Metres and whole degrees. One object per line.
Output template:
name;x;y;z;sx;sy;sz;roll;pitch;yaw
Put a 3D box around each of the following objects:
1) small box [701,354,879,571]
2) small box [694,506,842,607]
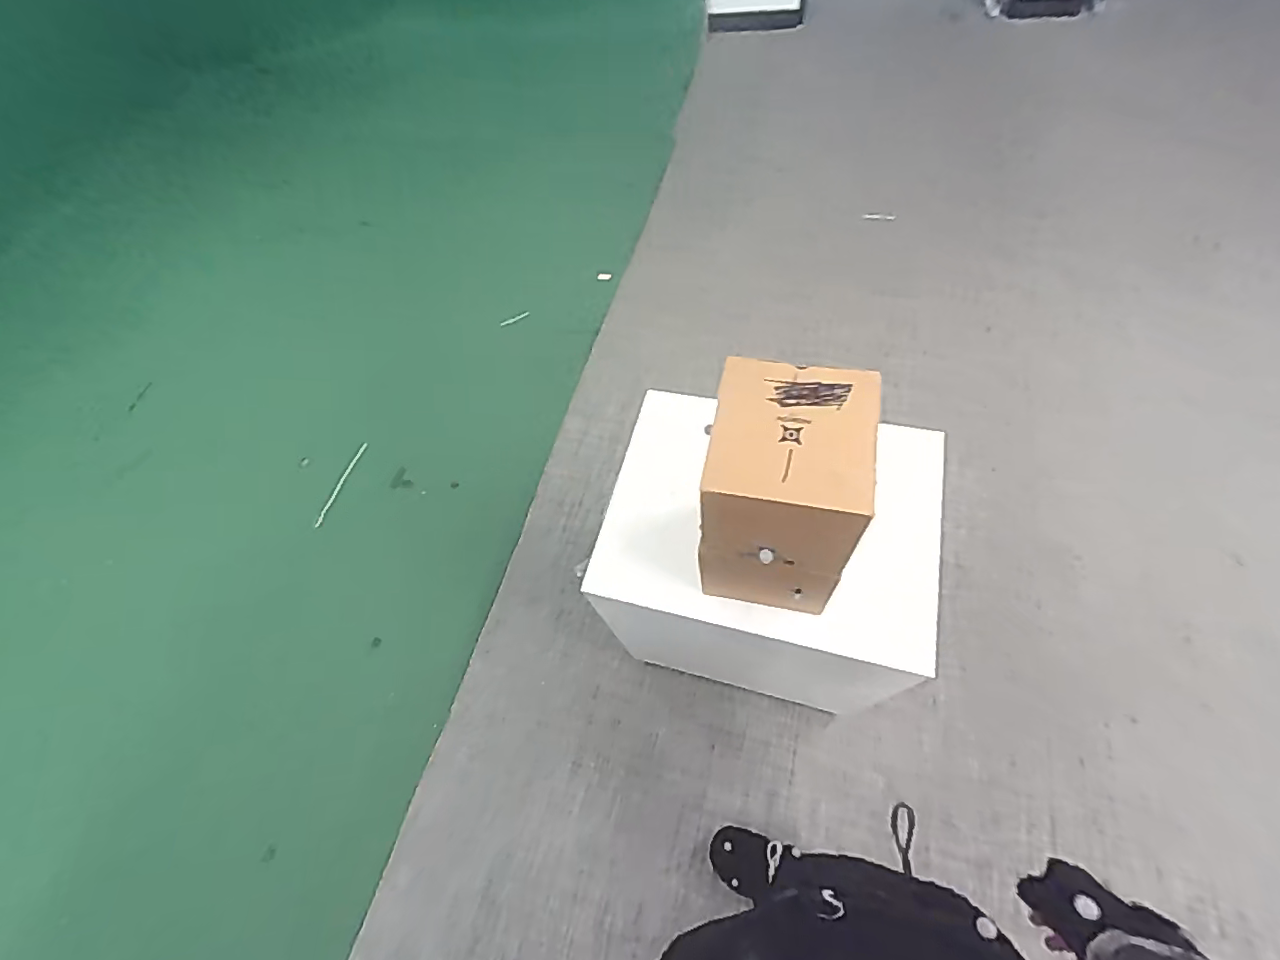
small box;0.163;-0.017;0.613;0.168;0.176;0.179;6;61;12
small box;0.181;0.068;0.753;0.179;0.176;0.168;7;62;15
